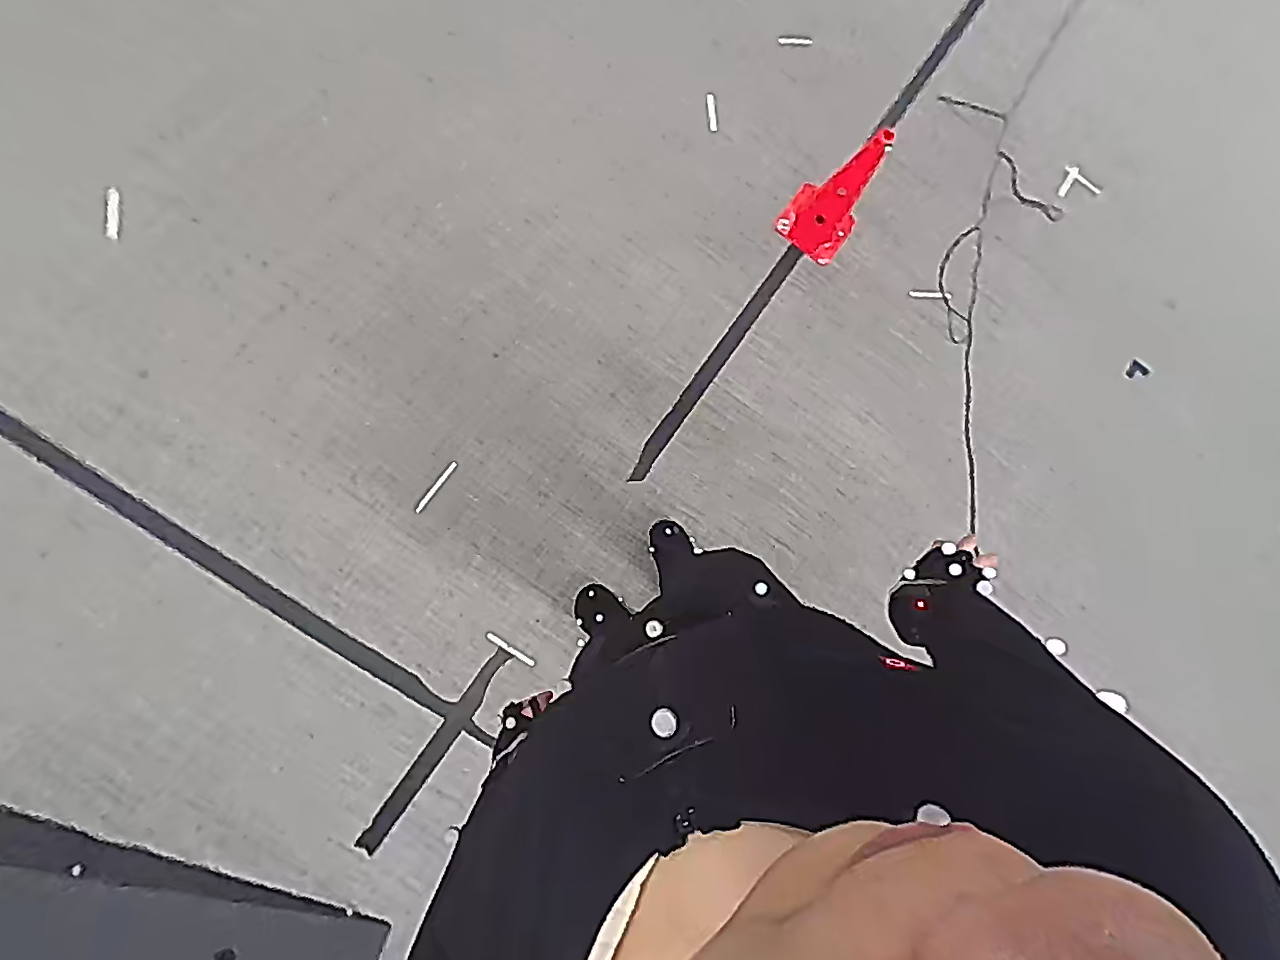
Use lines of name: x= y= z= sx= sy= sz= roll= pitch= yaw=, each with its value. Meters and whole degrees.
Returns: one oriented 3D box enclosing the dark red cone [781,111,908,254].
dark red cone: x=0.559 y=-0.801 z=1.425 sx=0.201 sy=0.394 sz=0.202 roll=35 pitch=78 yaw=-5
